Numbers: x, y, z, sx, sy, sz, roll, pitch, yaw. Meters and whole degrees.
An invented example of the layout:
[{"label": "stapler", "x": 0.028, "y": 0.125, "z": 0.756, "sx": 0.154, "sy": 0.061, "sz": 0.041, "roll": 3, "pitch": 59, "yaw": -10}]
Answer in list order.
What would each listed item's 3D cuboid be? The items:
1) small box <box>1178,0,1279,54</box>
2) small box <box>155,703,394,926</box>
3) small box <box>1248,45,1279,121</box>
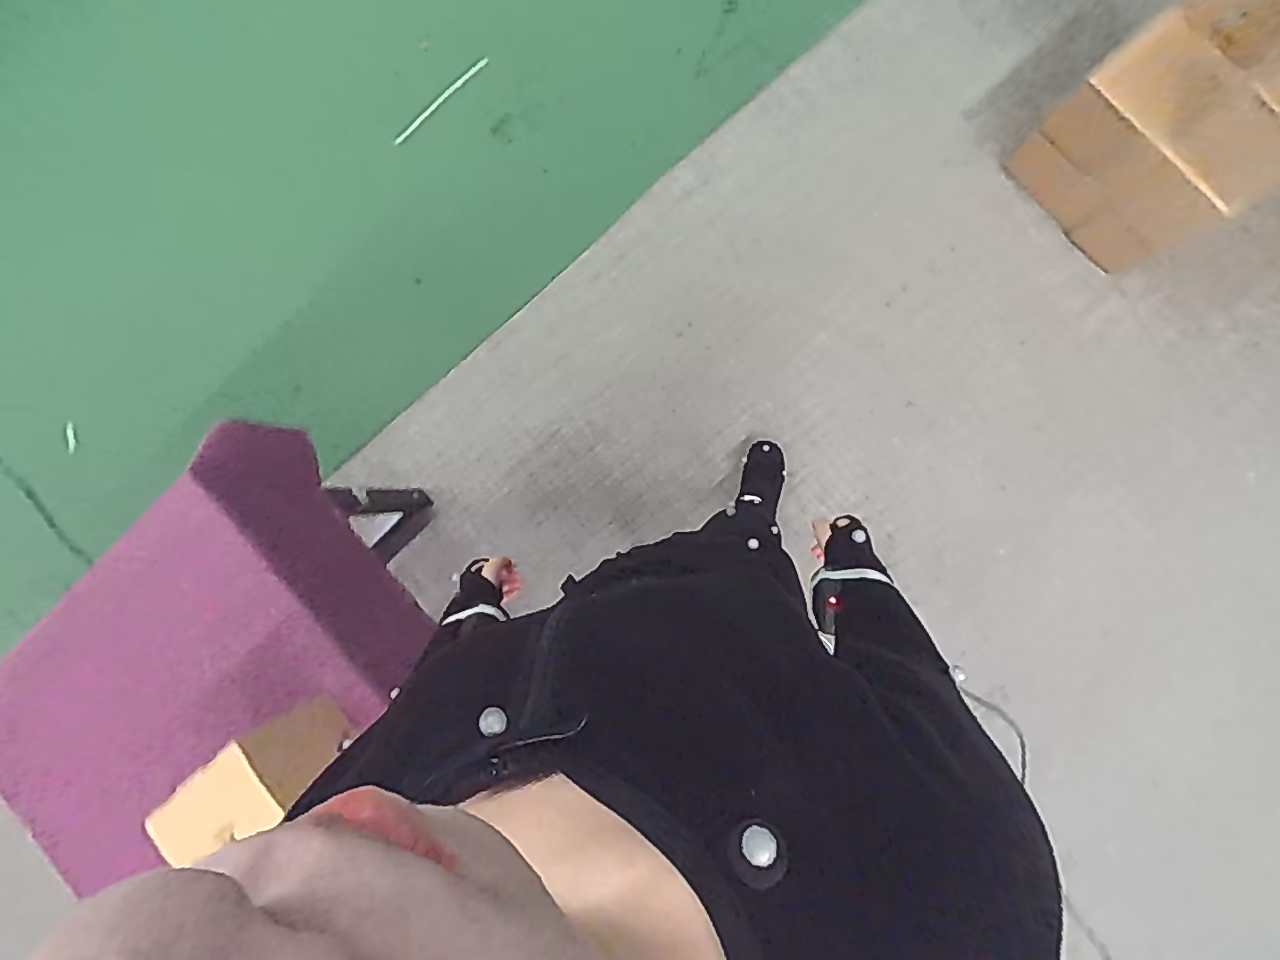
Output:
[{"label": "small box", "x": 1.207, "y": -0.981, "z": 1.025, "sx": 0.179, "sy": 0.176, "sz": 0.168, "roll": -40, "pitch": 84, "yaw": 0}, {"label": "small box", "x": -0.489, "y": 0.438, "z": 0.748, "sx": 0.168, "sy": 0.176, "sz": 0.179, "roll": -42, "pitch": 84, "yaw": 4}, {"label": "small box", "x": 1.156, "y": -0.691, "z": 0.851, "sx": 0.179, "sy": 0.176, "sz": 0.168, "roll": -36, "pitch": 86, "yaw": 3}]
